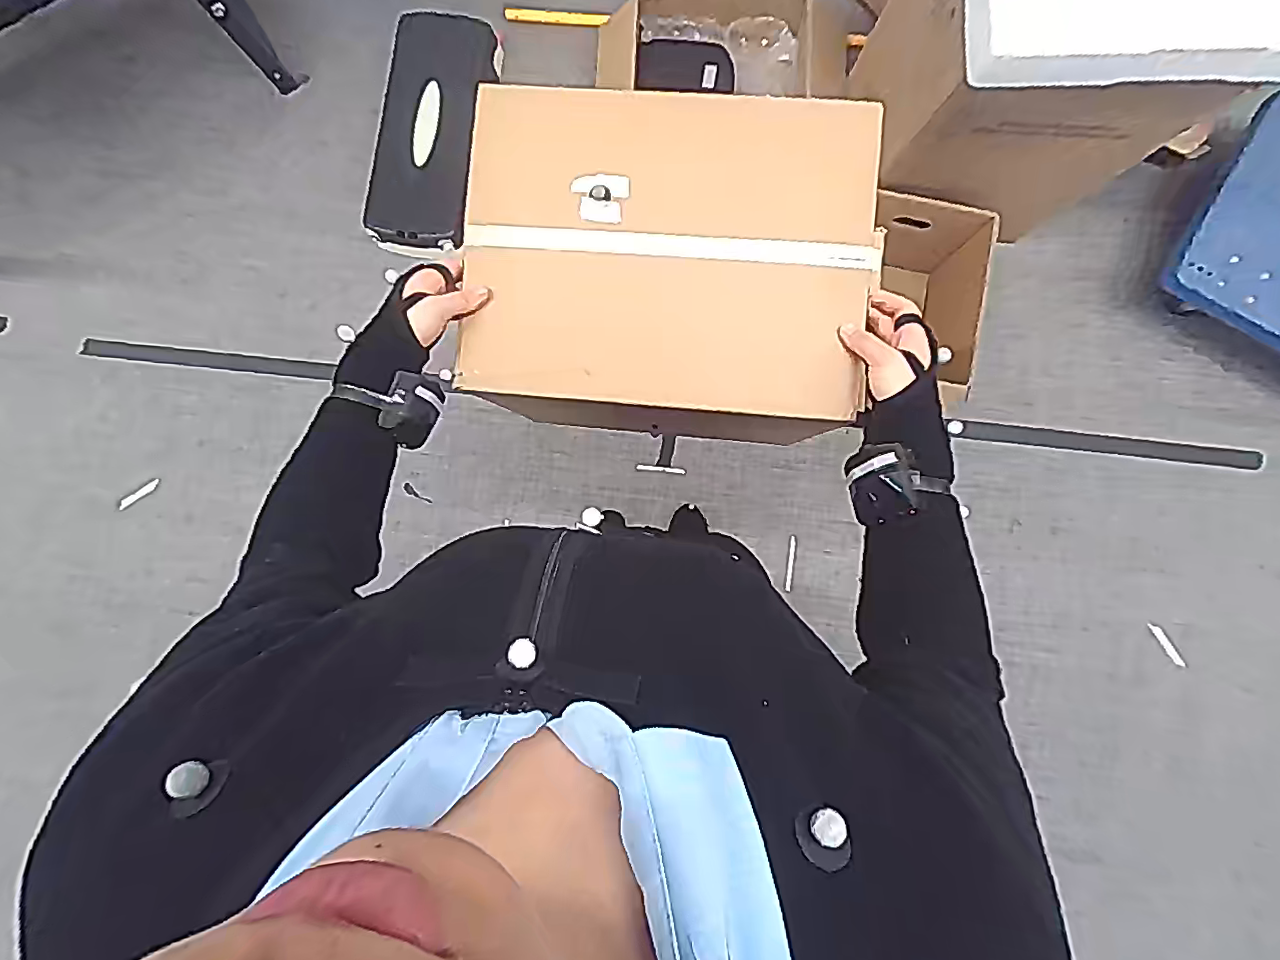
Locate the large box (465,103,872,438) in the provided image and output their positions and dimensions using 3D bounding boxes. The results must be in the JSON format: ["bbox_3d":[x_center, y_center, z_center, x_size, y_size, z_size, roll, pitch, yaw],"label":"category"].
[{"bbox_3d":[0.038,-0.228,0.697,0.408,0.320,0.320,5,88,5],"label":"large box"}]
